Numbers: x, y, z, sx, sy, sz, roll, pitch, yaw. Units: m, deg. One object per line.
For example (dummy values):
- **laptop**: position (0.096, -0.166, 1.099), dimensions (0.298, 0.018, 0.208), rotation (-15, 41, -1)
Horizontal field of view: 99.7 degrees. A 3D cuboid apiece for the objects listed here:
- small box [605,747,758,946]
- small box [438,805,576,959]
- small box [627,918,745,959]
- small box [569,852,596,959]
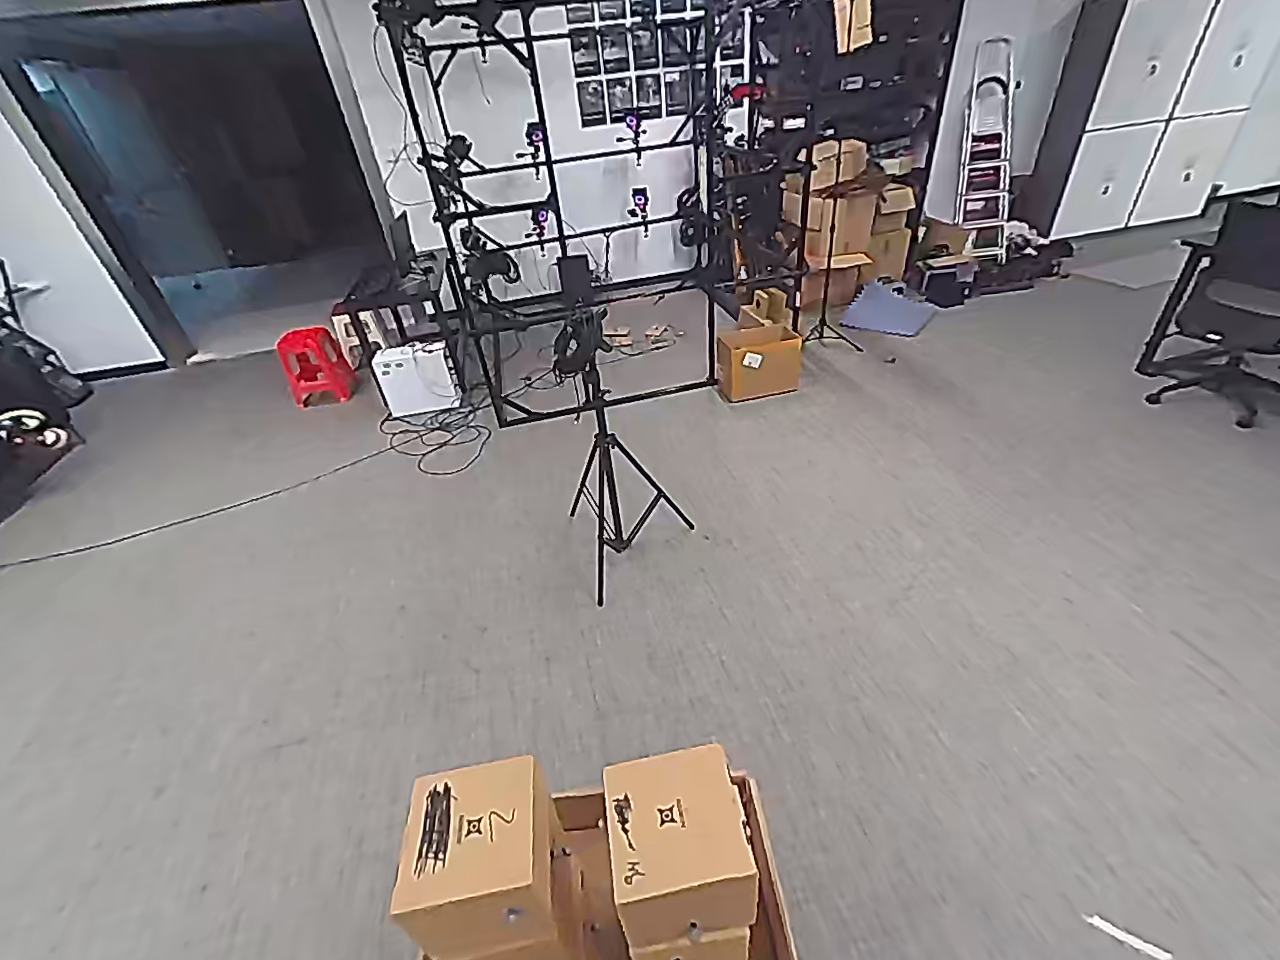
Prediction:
- **small box**: position (0.051, 0.504, 0.748), dimensions (0.179, 0.176, 0.168), rotation (-9, 35, -4)
- **small box**: position (-0.200, 0.658, 0.853), dimensions (0.168, 0.176, 0.179), rotation (-11, 36, -4)
- **small box**: position (0.064, 0.639, 0.840), dimensions (0.168, 0.176, 0.179), rotation (-8, 35, -2)
- **small box**: position (-0.176, 0.790, 0.947), dimensions (0.179, 0.176, 0.168), rotation (-8, 36, -3)
